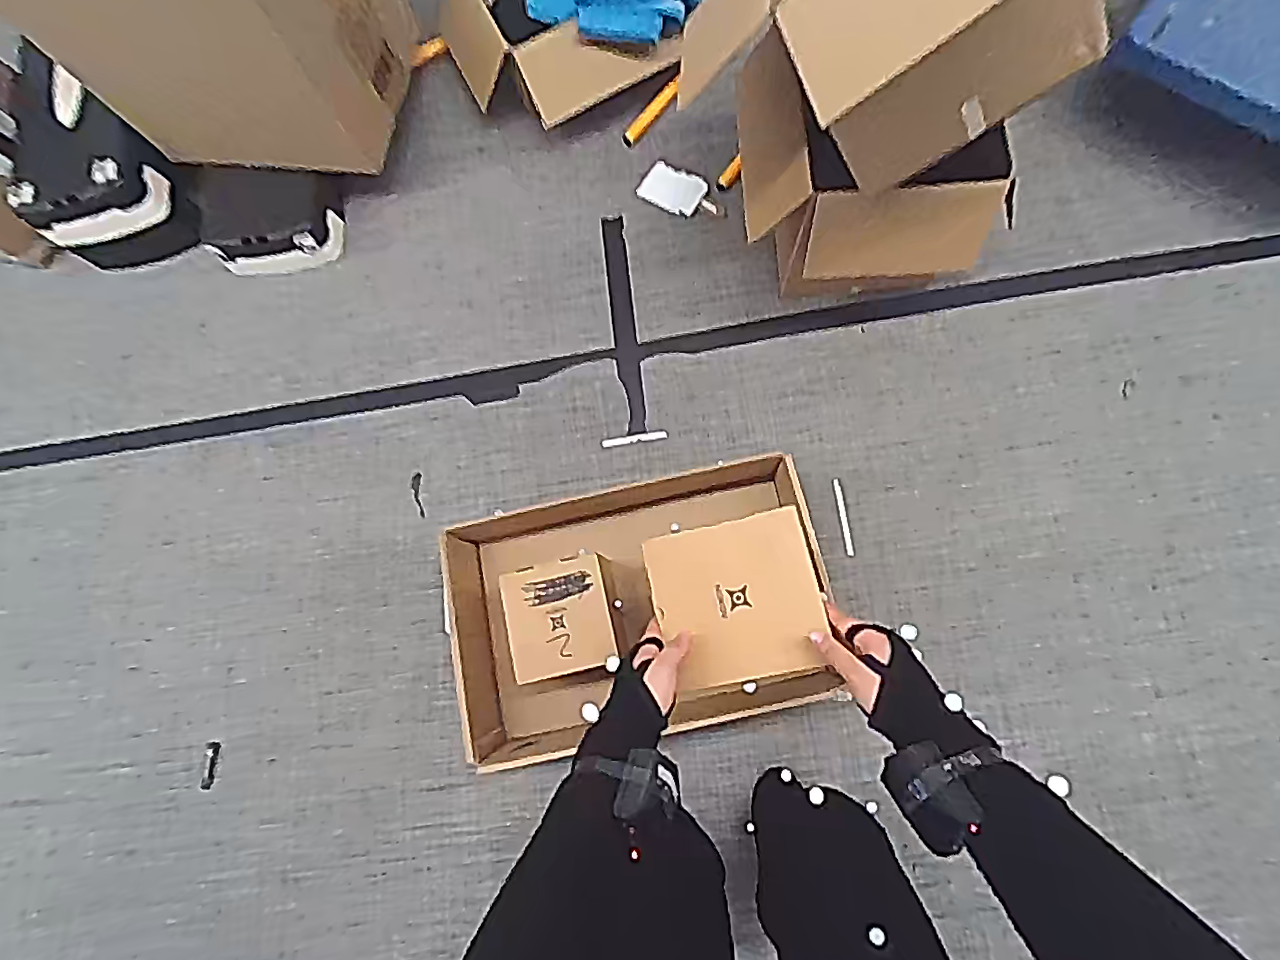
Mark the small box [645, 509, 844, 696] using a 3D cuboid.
[{"bbox_3d":[0.117,0.139,0.636,0.179,0.176,0.168,-14,77,8],"label":"small box"}]
